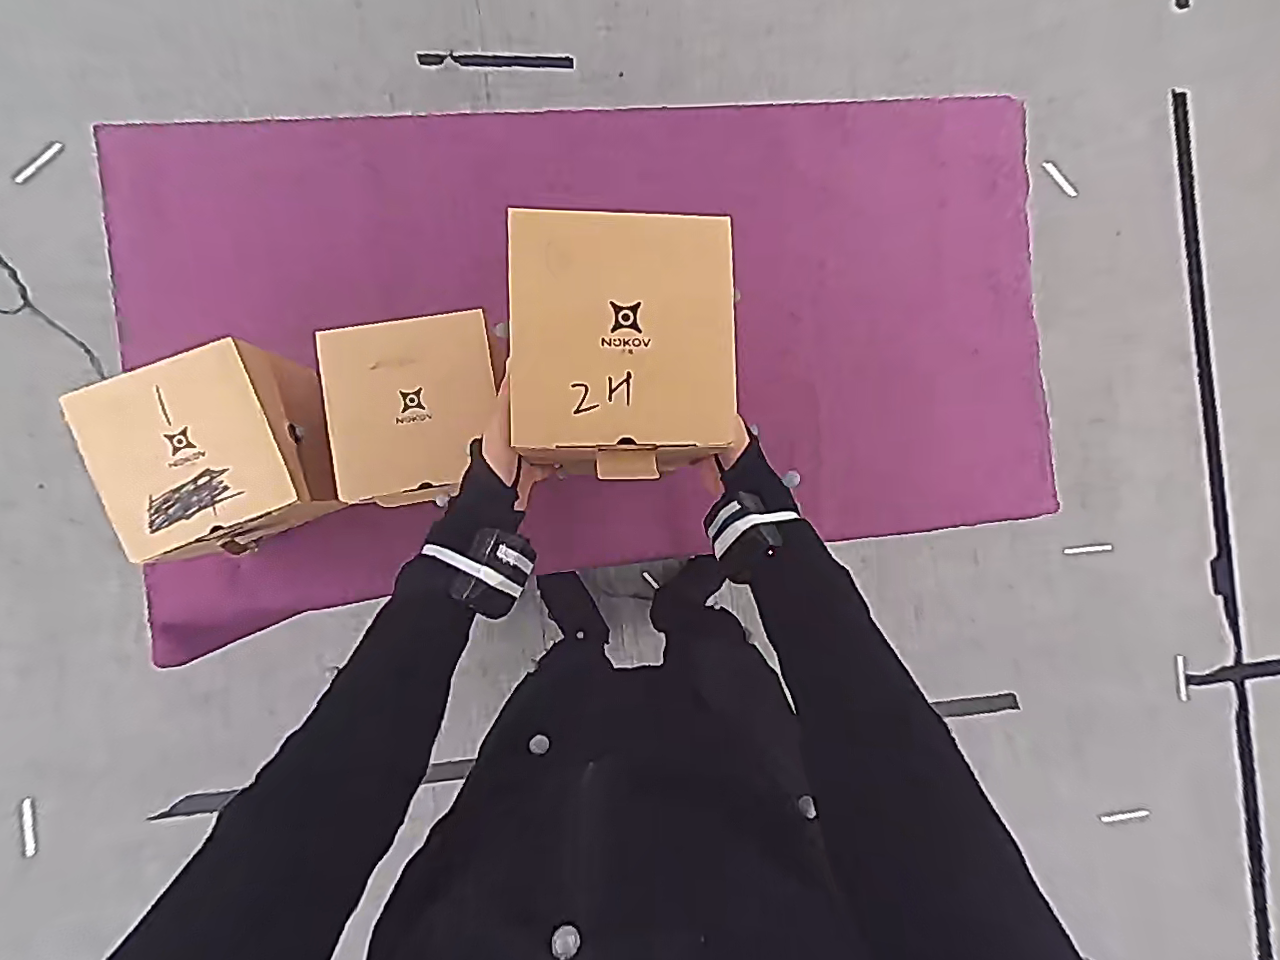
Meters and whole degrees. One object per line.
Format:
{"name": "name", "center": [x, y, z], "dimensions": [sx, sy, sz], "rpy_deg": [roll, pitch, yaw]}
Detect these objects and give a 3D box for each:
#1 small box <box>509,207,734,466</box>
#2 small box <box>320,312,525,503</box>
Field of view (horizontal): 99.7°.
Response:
{"name": "small box", "center": [-0.022, -0.106, 0.472], "dimensions": [0.168, 0.176, 0.179], "rpy_deg": [0, 88, -7]}
{"name": "small box", "center": [-0.233, -0.074, 0.623], "dimensions": [0.168, 0.176, 0.179], "rpy_deg": [-9, 90, -6]}
